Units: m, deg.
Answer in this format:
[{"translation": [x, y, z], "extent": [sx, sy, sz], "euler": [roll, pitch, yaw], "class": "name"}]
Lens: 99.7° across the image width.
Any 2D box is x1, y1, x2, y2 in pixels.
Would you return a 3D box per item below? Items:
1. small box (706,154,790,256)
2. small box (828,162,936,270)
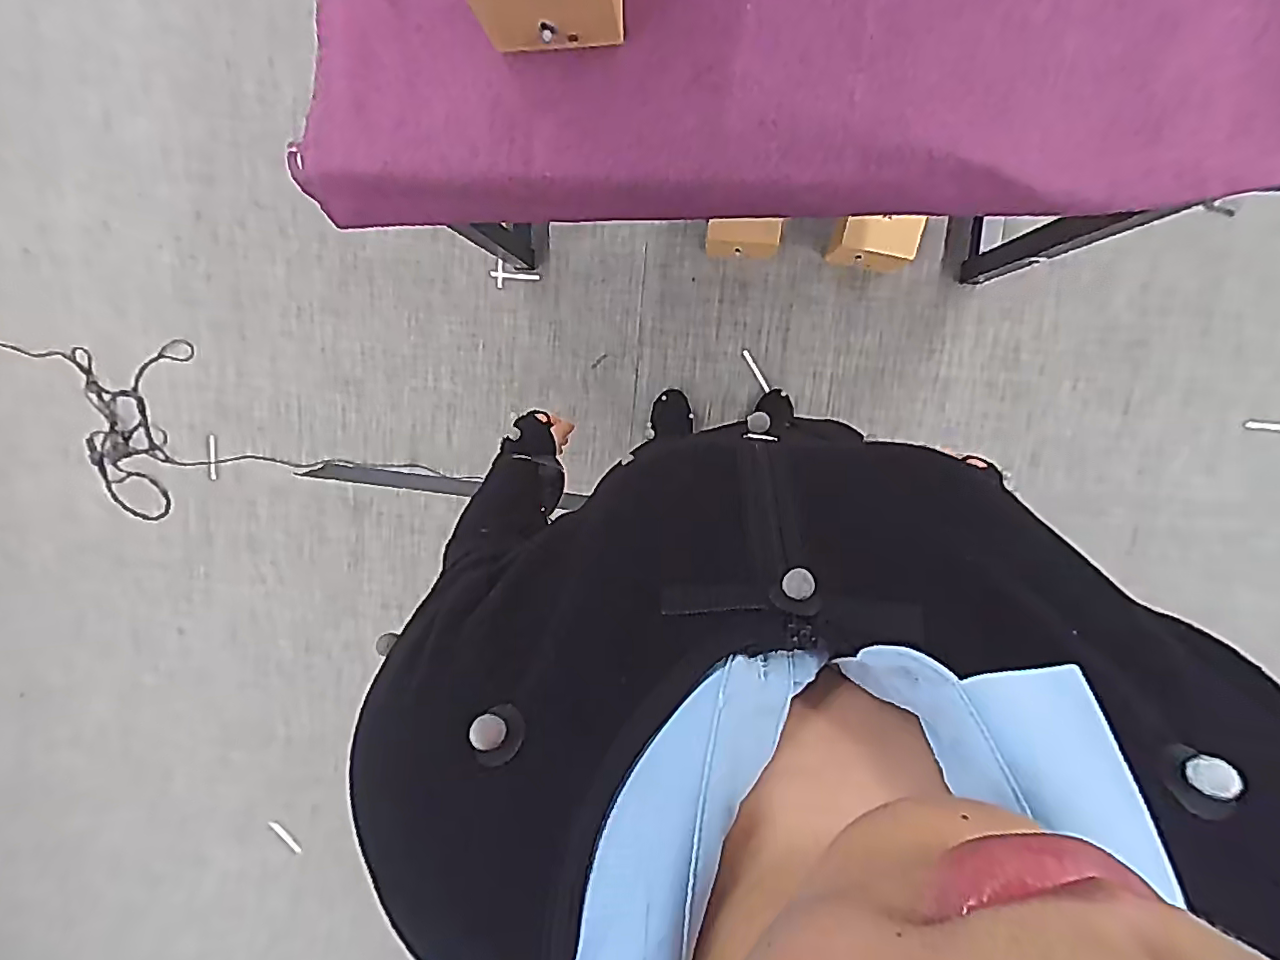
[{"translation": [0.250, -0.646, 1.292], "extent": [0.168, 0.176, 0.179], "euler": [7, 100, 4], "class": "small box"}, {"translation": [0.555, -0.608, 1.269], "extent": [0.168, 0.176, 0.179], "euler": [14, 101, 4], "class": "small box"}]
